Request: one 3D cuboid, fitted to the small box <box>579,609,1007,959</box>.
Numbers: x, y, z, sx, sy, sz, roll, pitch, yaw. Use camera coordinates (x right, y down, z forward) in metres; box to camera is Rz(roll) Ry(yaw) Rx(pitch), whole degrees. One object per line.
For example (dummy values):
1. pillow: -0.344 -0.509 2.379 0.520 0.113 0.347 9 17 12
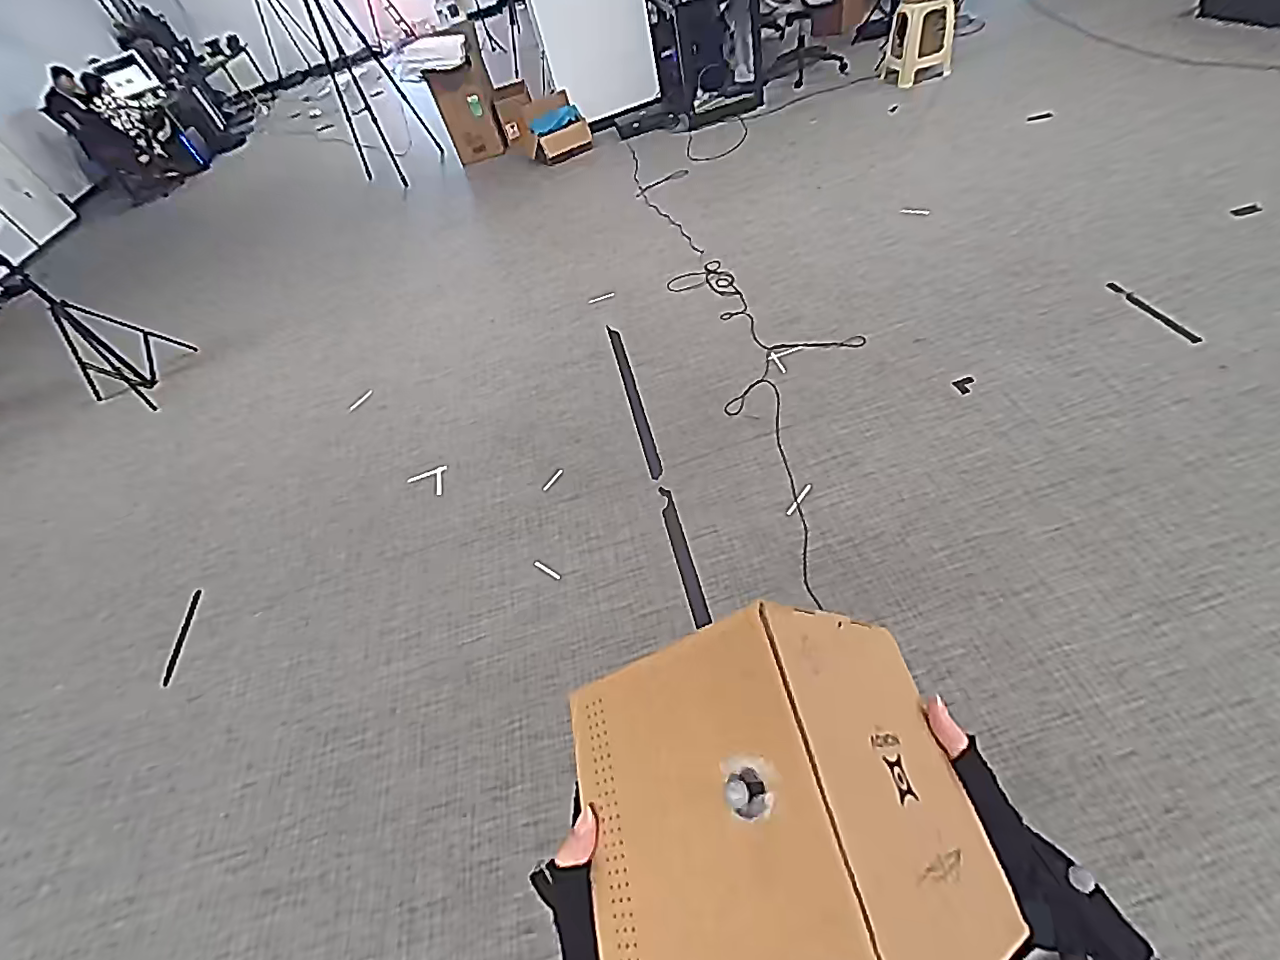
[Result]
1. small box: 0.078 0.205 0.340 0.176 0.168 0.179 -37 49 31
